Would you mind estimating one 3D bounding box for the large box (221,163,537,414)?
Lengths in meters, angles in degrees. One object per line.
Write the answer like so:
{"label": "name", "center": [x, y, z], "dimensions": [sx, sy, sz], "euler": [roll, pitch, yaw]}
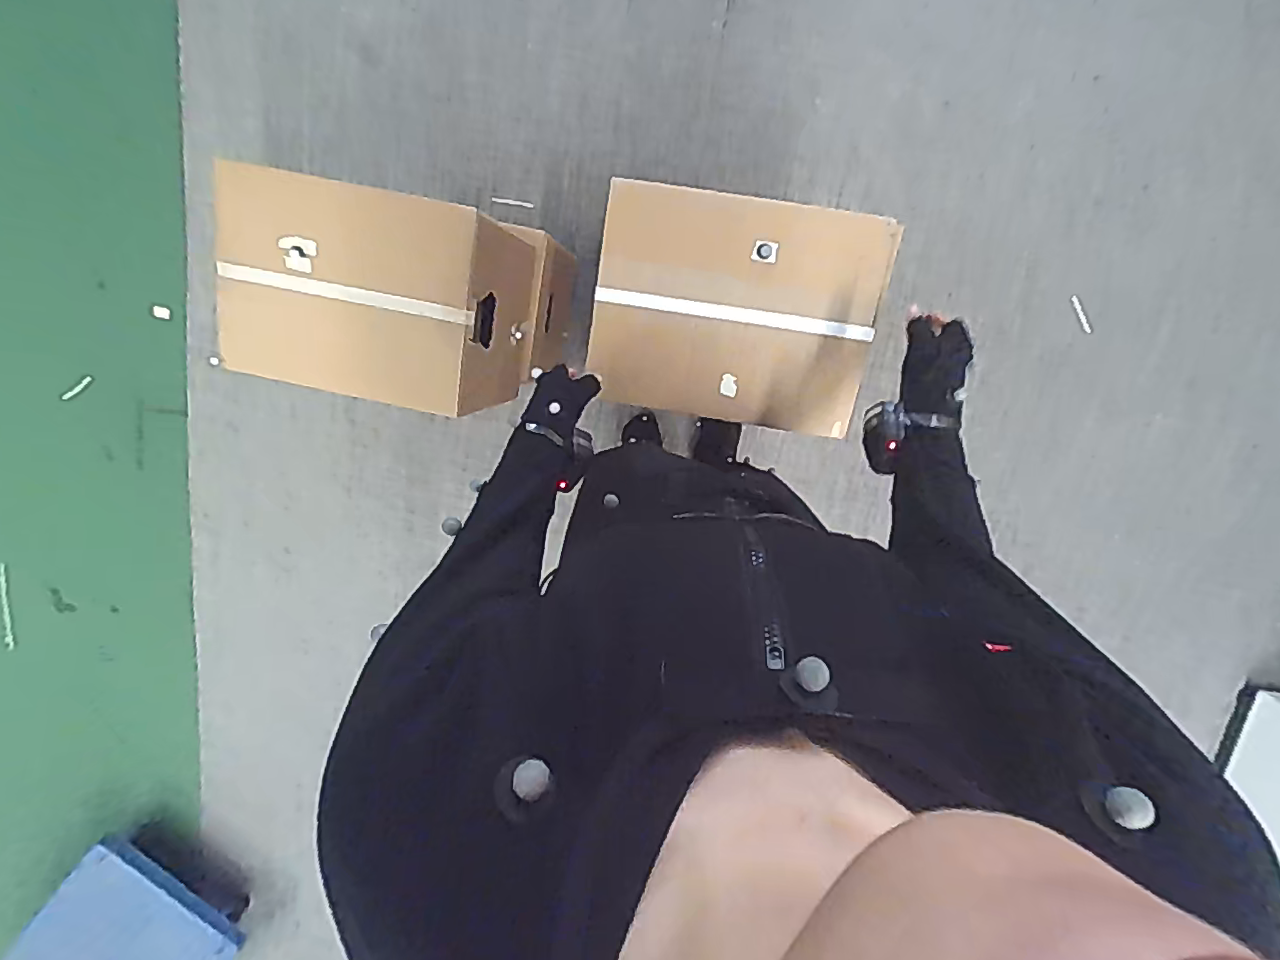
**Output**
{"label": "large box", "center": [-0.433, -0.325, 0.968], "dimensions": [0.408, 0.320, 0.320], "euler": [12, 105, 3]}
